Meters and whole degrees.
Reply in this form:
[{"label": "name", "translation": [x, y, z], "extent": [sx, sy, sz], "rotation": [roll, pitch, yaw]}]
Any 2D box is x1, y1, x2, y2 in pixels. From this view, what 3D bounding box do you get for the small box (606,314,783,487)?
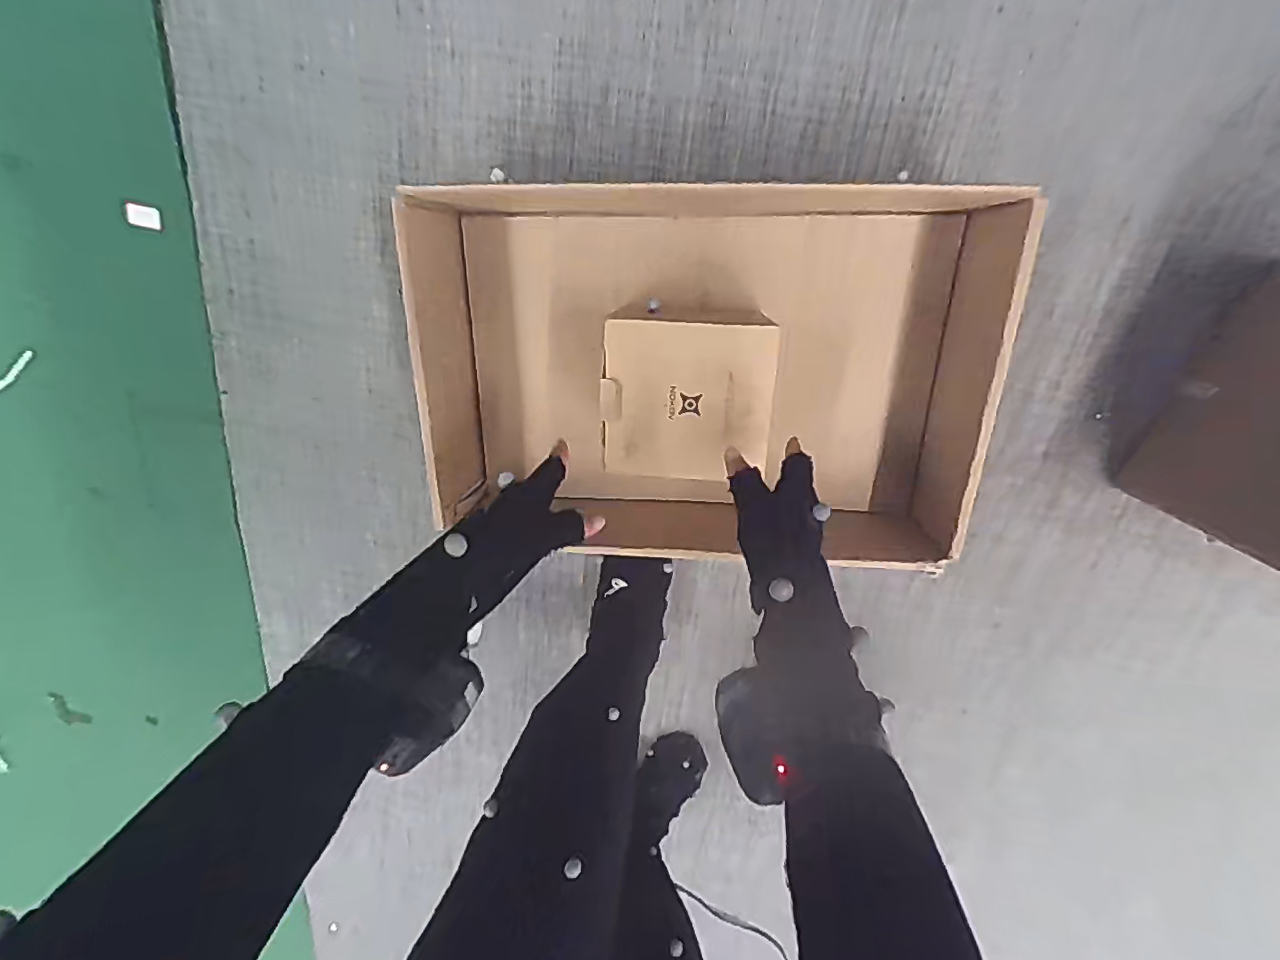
[{"label": "small box", "translation": [0.058, -0.101, 0.634], "extent": [0.179, 0.176, 0.168], "rotation": [2, 112, 3]}]
